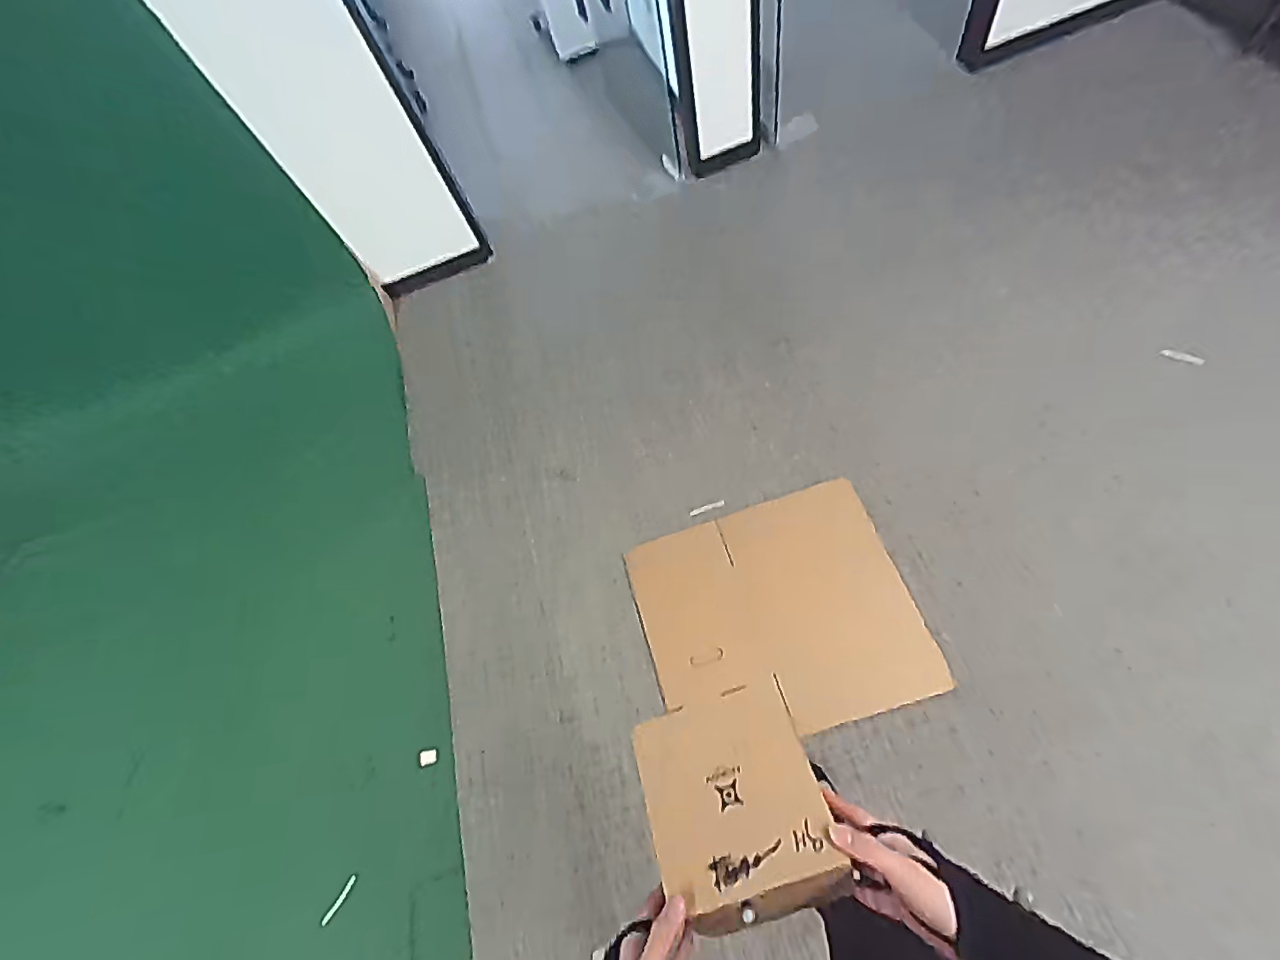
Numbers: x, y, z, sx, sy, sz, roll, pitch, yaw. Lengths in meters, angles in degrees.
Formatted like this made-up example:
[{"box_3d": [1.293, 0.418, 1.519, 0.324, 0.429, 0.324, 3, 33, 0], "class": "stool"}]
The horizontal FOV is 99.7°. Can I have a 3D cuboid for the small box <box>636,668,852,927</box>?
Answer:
[{"box_3d": [0.109, 0.339, 0.578, 0.168, 0.176, 0.179, -21, 42, 3], "class": "small box"}]
